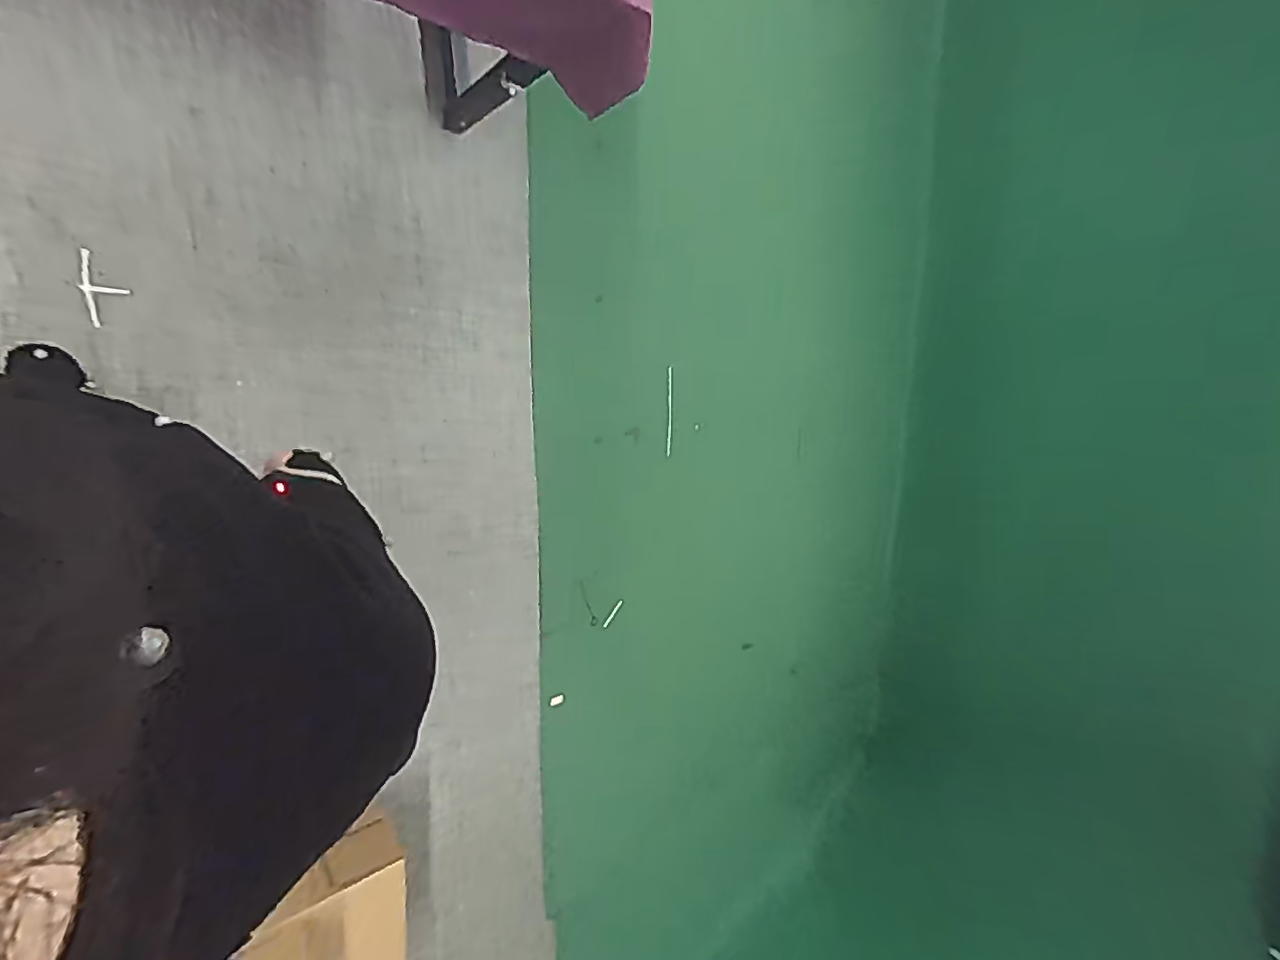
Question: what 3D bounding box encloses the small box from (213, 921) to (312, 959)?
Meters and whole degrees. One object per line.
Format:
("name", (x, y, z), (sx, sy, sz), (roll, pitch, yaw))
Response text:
("small box", (-0.739, 1.032, 1.055), (0.168, 0.176, 0.179), (-1, 100, -44))
